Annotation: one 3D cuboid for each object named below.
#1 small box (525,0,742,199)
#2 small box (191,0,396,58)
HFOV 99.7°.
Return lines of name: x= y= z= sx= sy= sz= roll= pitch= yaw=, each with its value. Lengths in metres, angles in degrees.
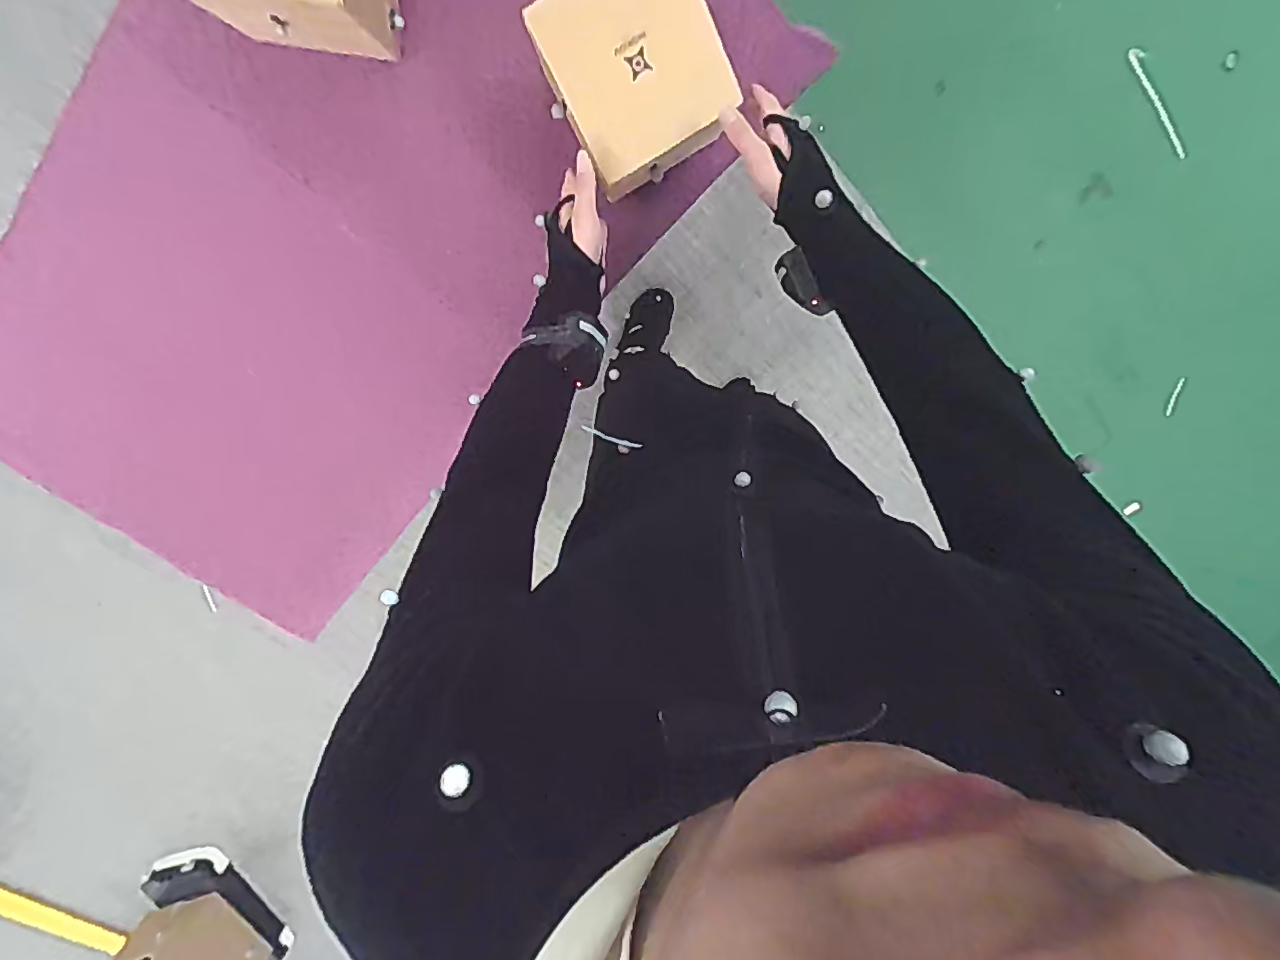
small box: x=-0.003 y=-0.445 z=0.616 sx=0.168 sy=0.176 sz=0.179 roll=-27 pitch=109 yaw=9
small box: x=-0.362 y=-0.563 z=0.551 sx=0.179 sy=0.176 sz=0.168 roll=6 pitch=112 yaw=-5
